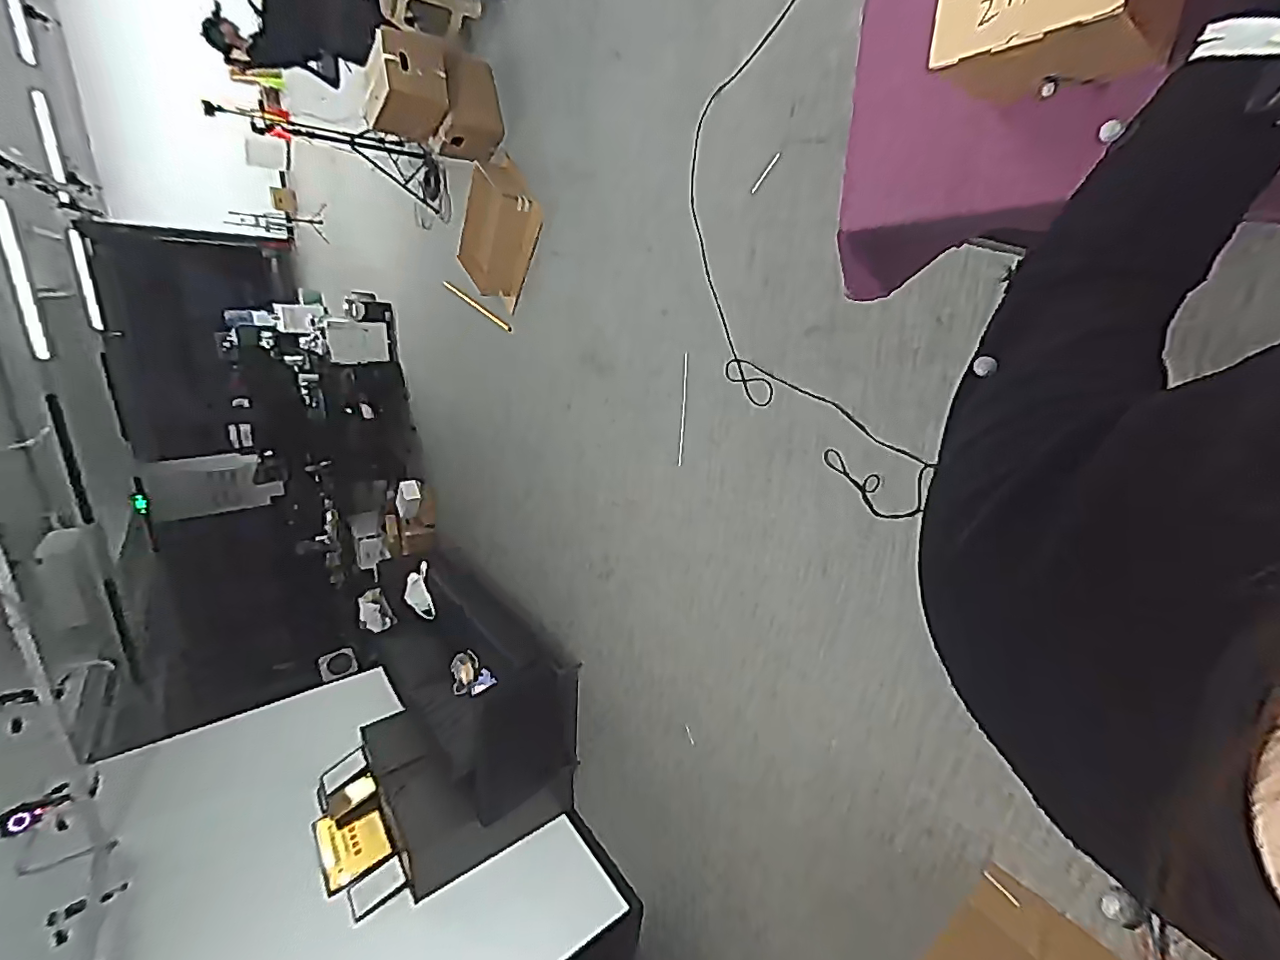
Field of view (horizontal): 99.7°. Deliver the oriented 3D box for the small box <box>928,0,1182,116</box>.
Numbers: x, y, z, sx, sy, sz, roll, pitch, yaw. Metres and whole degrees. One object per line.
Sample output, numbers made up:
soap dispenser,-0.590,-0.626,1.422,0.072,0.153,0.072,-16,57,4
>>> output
small box,0.428,-0.504,0.545,0.168,0.176,0.179,23,116,49
